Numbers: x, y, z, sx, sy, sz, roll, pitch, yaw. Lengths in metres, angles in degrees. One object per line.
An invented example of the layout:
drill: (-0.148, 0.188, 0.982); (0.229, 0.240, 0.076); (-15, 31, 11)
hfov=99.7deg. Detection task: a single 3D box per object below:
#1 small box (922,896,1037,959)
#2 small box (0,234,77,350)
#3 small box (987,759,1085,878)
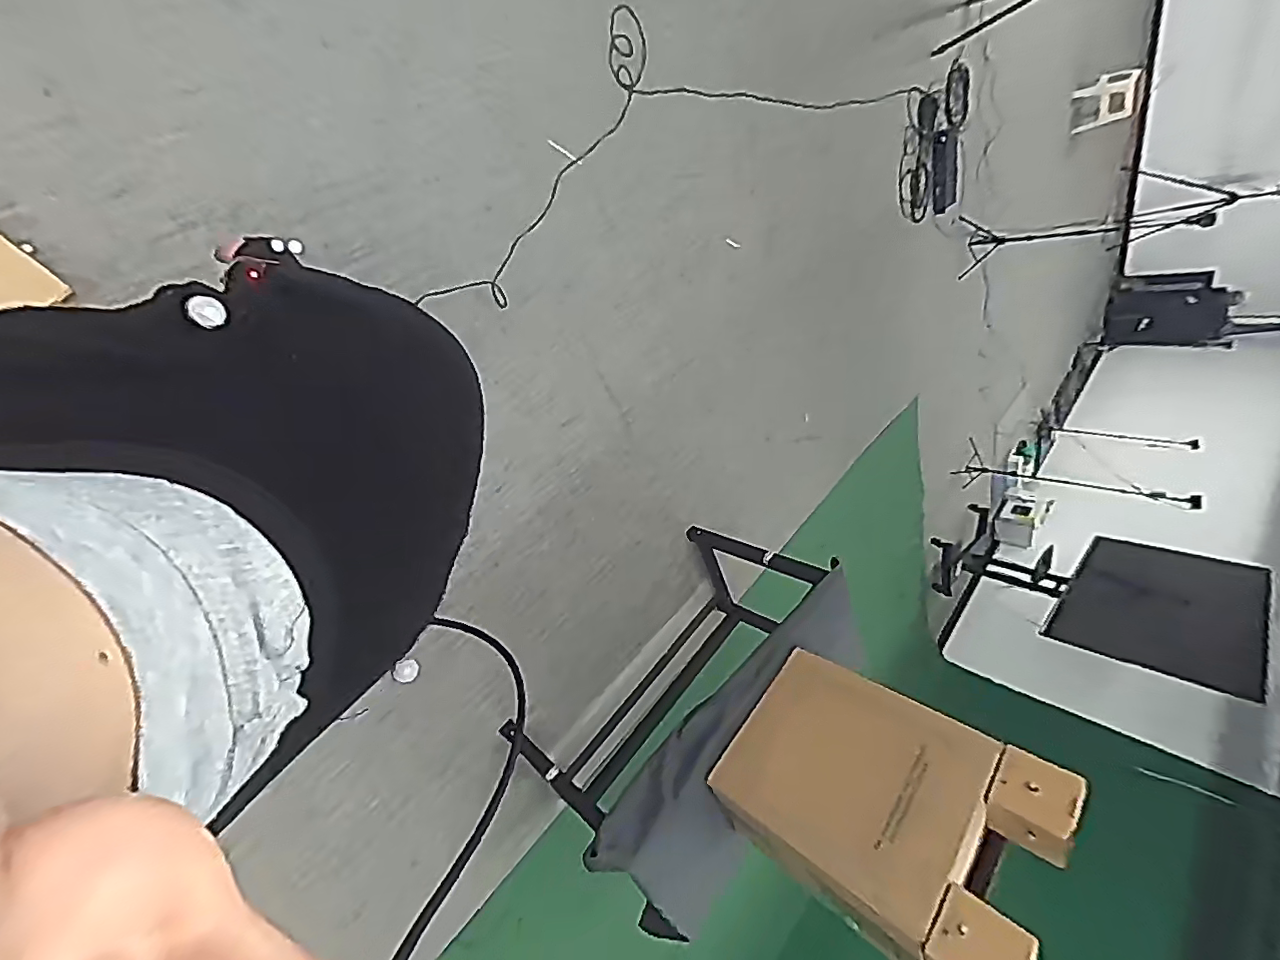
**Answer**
small box: (0.748, 1.078, 1.197); (0.168, 0.176, 0.179); (-43, 126, -25)
small box: (-1.138, -0.340, 0.934); (0.168, 0.176, 0.179); (-54, 130, -19)
small box: (0.995, 0.843, 1.365); (0.168, 0.176, 0.179); (-44, 127, -27)
